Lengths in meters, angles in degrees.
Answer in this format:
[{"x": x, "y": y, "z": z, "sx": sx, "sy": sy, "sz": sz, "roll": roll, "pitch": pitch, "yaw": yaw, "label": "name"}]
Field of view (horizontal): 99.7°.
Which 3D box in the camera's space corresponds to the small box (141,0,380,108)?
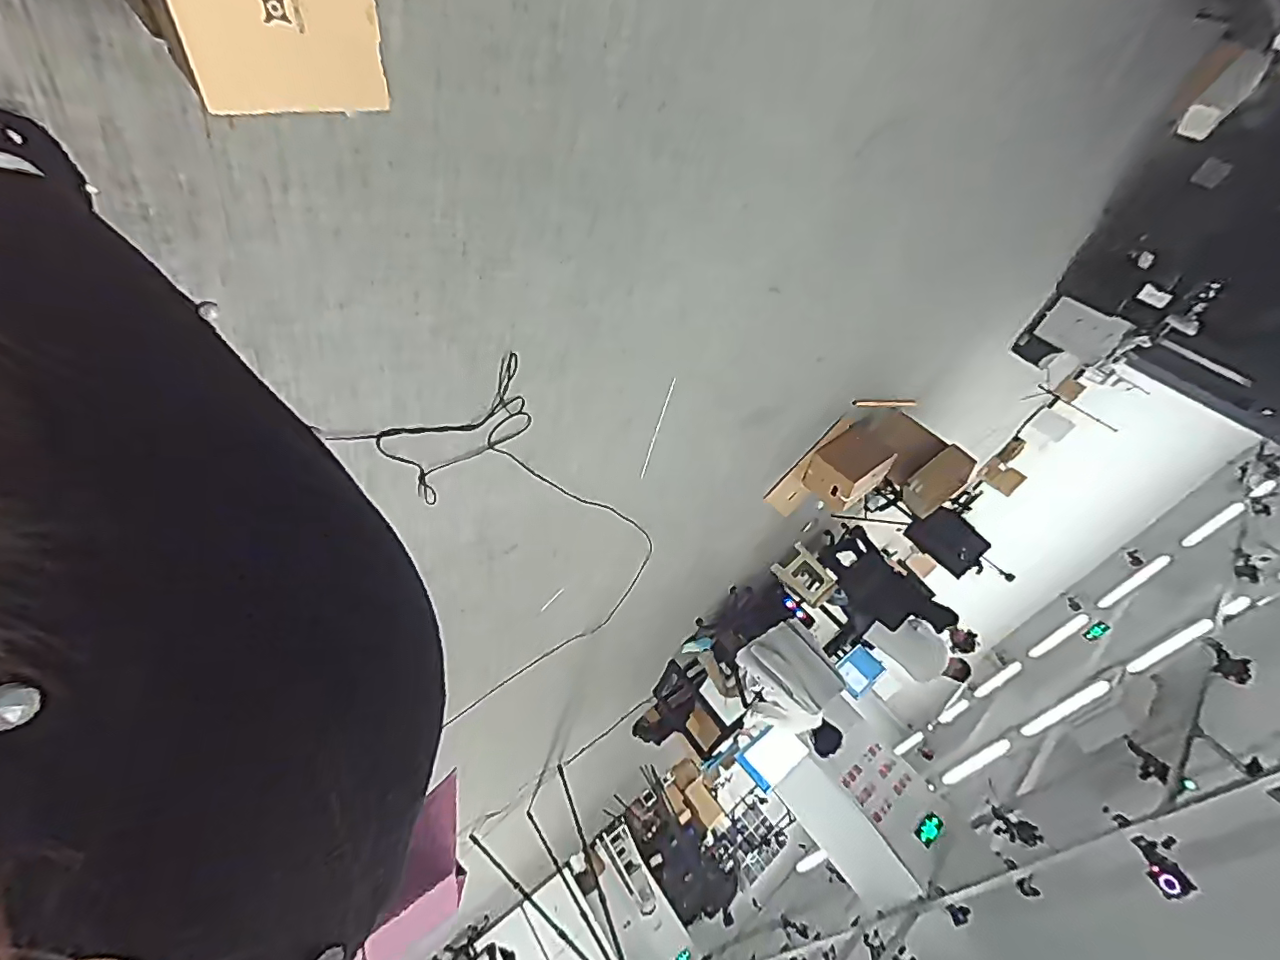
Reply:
[{"x": -0.390, "y": -0.488, "z": 0.534, "sx": 0.179, "sy": 0.176, "sz": 0.168, "roll": -26, "pitch": 148, "yaw": -30, "label": "small box"}]
